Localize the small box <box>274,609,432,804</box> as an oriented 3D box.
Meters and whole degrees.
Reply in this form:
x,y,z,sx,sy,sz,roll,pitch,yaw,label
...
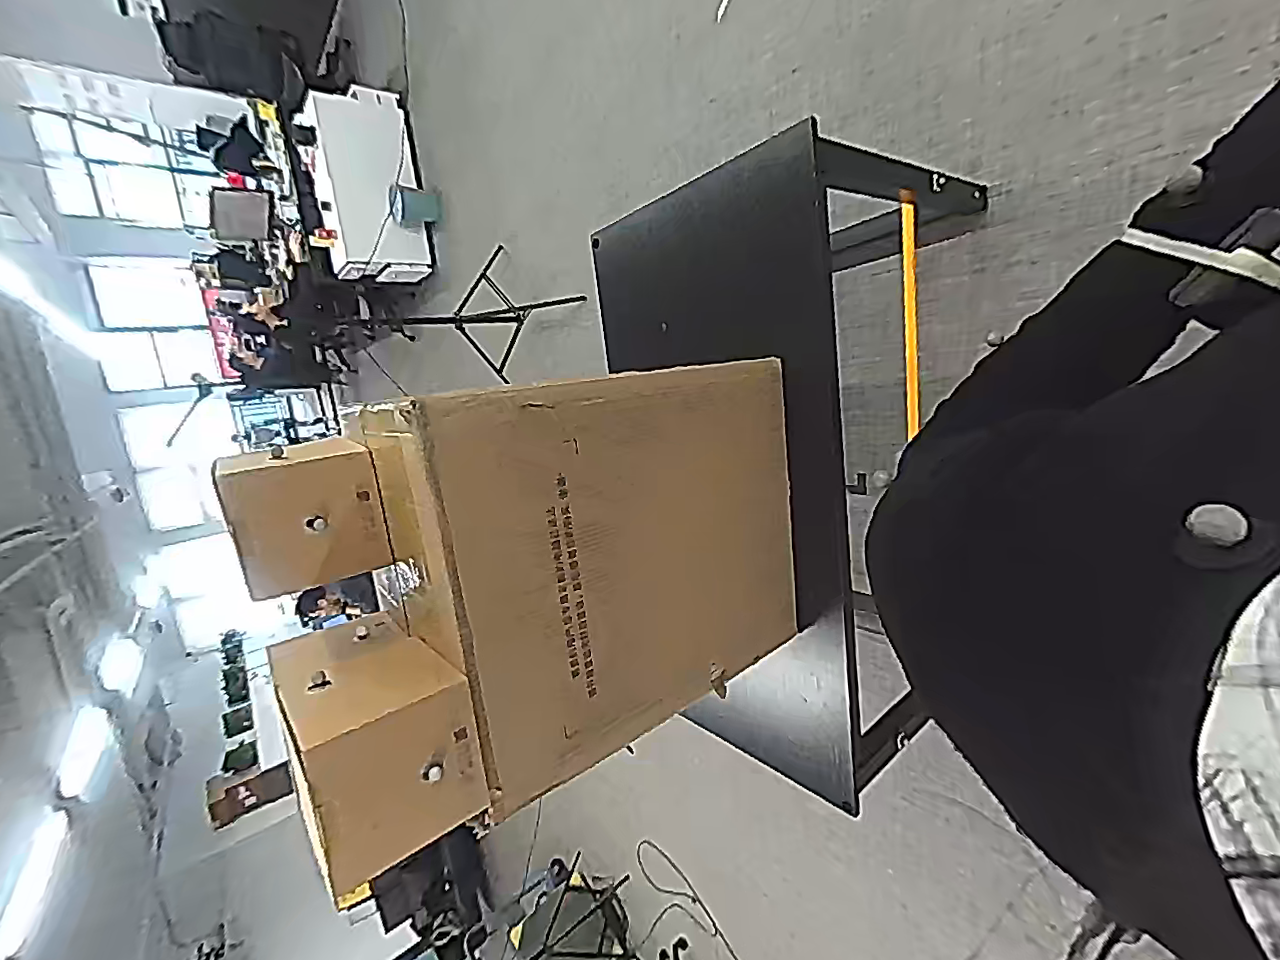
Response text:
x,y,z,sx,sy,sz,roll,pitch,yaw,label
-0.418,0.316,0.795,0.168,0.176,0.179,8,107,52,small box
